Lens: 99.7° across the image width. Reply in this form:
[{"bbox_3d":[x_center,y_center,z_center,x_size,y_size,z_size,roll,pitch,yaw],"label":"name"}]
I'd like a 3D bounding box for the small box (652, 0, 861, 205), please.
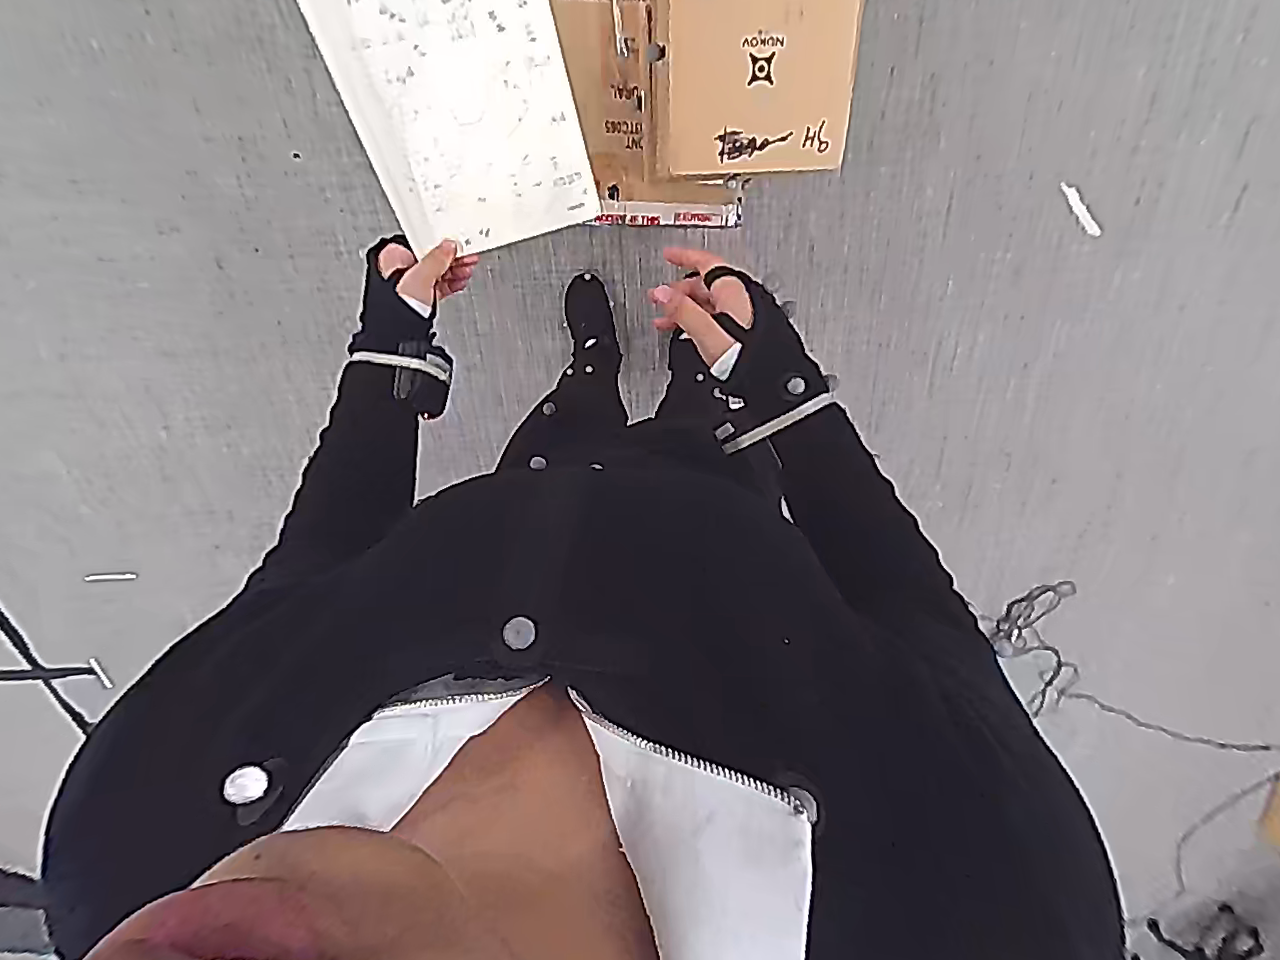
[{"bbox_3d":[0.102,-0.382,0.554,0.168,0.176,0.179,-4,118,-3],"label":"small box"}]

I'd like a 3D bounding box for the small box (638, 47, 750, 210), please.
[{"bbox_3d":[0.094,-0.452,0.703,0.179,0.176,0.168,-5,118,-1],"label":"small box"}]
